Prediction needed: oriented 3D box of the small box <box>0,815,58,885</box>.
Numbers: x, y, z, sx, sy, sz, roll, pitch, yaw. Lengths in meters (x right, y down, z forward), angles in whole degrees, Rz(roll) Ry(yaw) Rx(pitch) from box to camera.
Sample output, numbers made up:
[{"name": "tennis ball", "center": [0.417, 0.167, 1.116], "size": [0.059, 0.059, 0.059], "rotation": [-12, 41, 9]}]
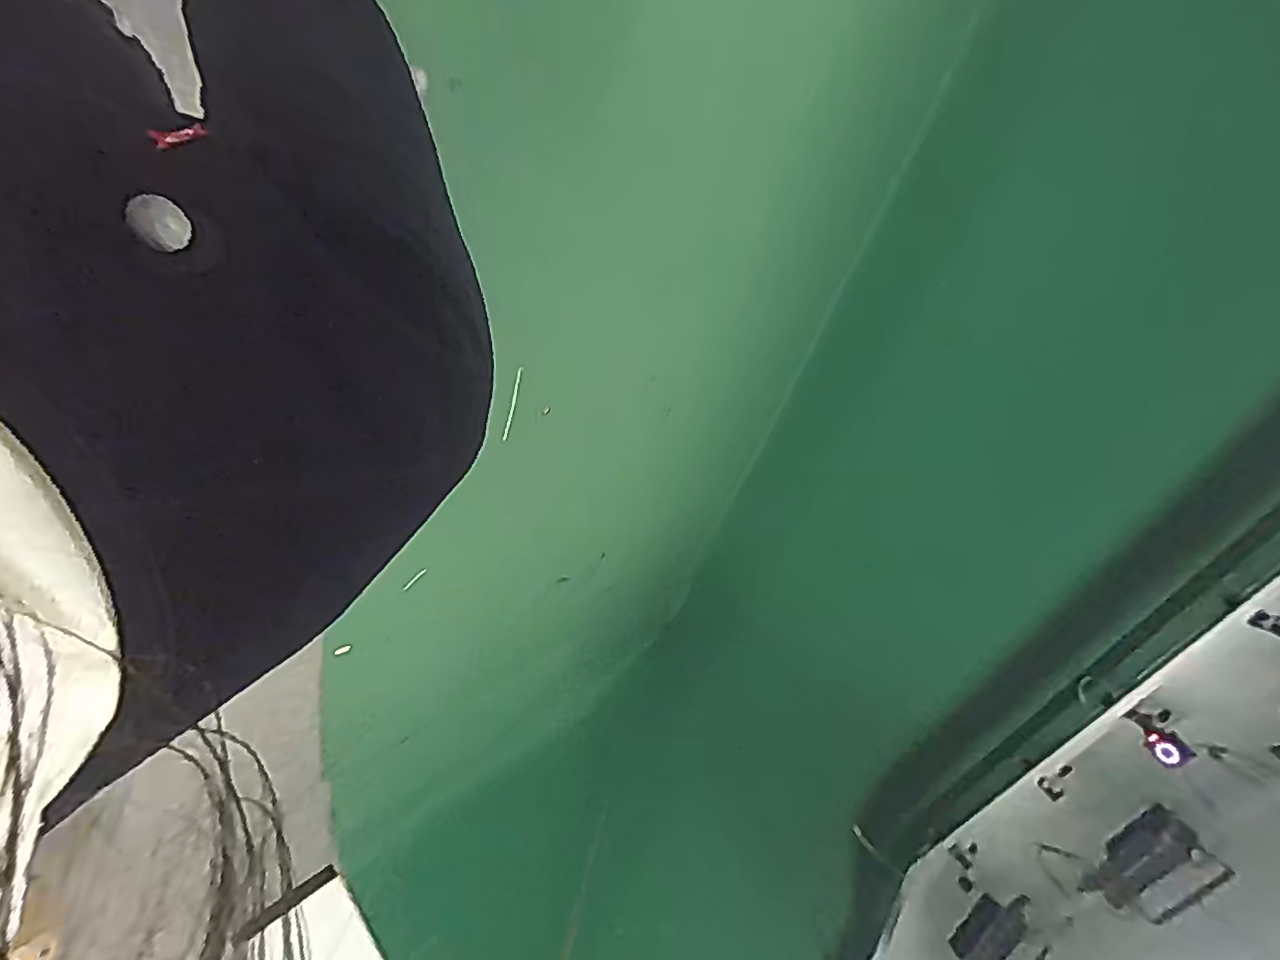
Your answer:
[{"name": "small box", "center": [-1.822, 1.115, 1.543], "size": [0.179, 0.176, 0.168], "rotation": [-21, 141, -47]}]
